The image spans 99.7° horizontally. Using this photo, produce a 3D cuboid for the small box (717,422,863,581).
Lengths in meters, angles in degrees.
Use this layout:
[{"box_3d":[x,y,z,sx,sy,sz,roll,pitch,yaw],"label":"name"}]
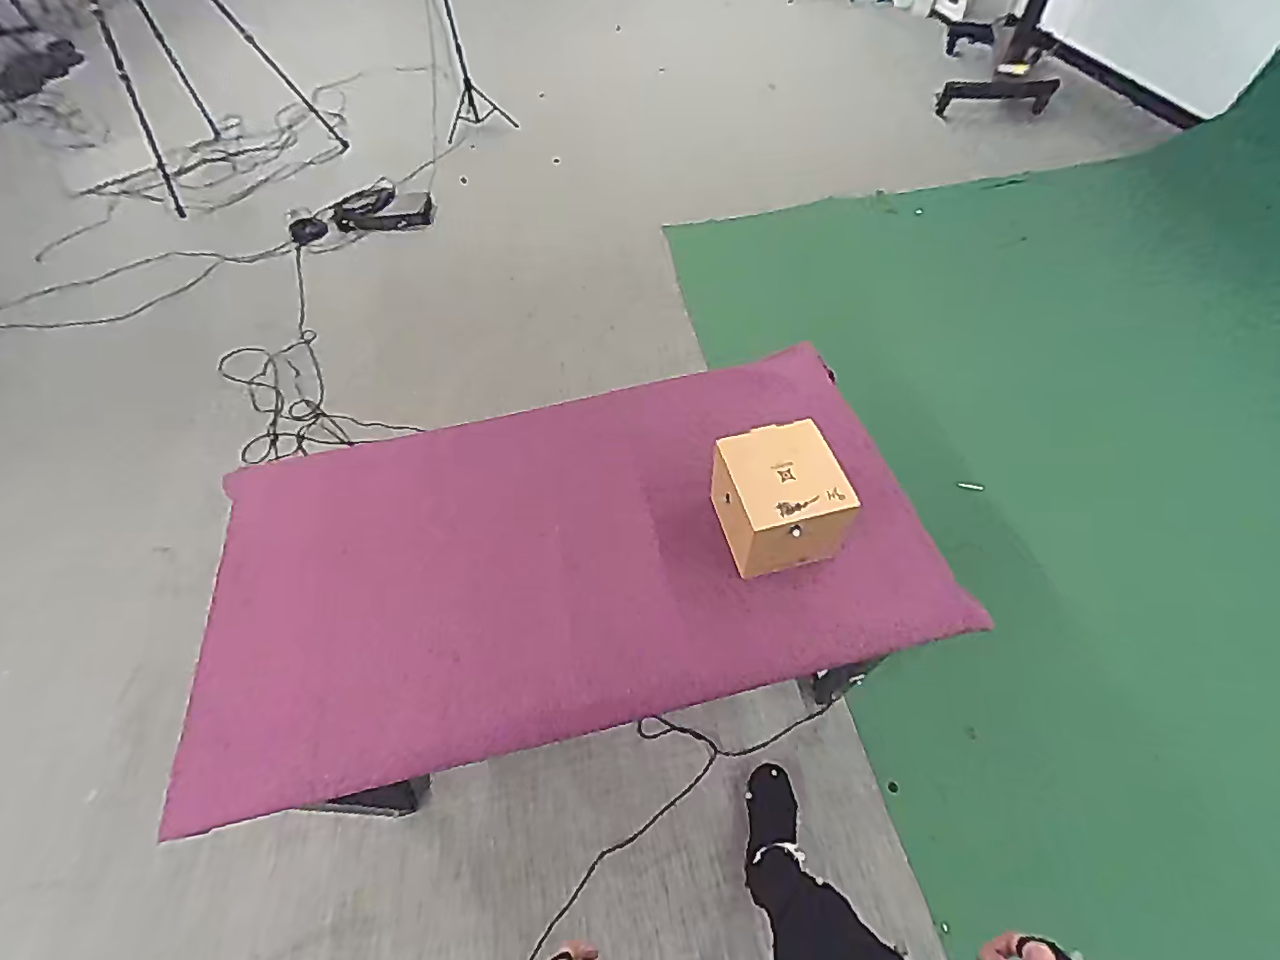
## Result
[{"box_3d":[0.228,0.037,0.880,0.168,0.176,0.179,-14,55,-4],"label":"small box"}]
